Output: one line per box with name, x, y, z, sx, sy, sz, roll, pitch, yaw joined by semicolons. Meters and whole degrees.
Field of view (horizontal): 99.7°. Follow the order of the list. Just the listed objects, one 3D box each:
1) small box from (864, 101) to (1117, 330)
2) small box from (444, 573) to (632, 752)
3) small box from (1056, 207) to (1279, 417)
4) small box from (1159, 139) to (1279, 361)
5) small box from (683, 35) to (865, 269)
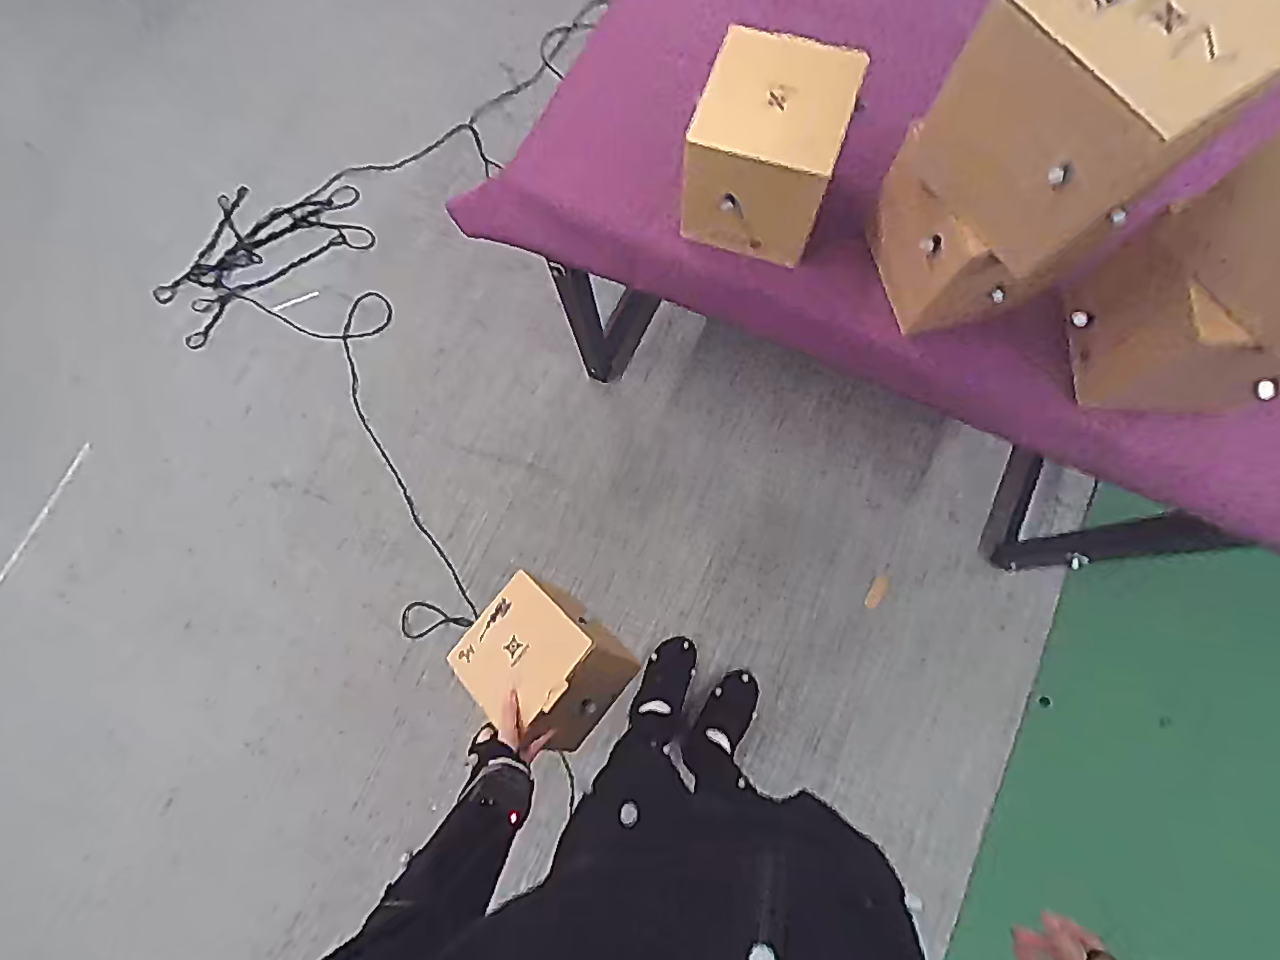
small box;0.398;-0.299;0.651;0.168;0.176;0.179;-12;76;-1
small box;-0.140;0.270;0.794;0.179;0.176;0.168;34;79;34
small box;0.626;-0.179;0.614;0.179;0.176;0.168;3;75;4
small box;0.622;-0.231;0.459;0.168;0.176;0.179;-29;76;-6
small box;0.158;-0.403;0.689;0.168;0.176;0.179;18;77;7
